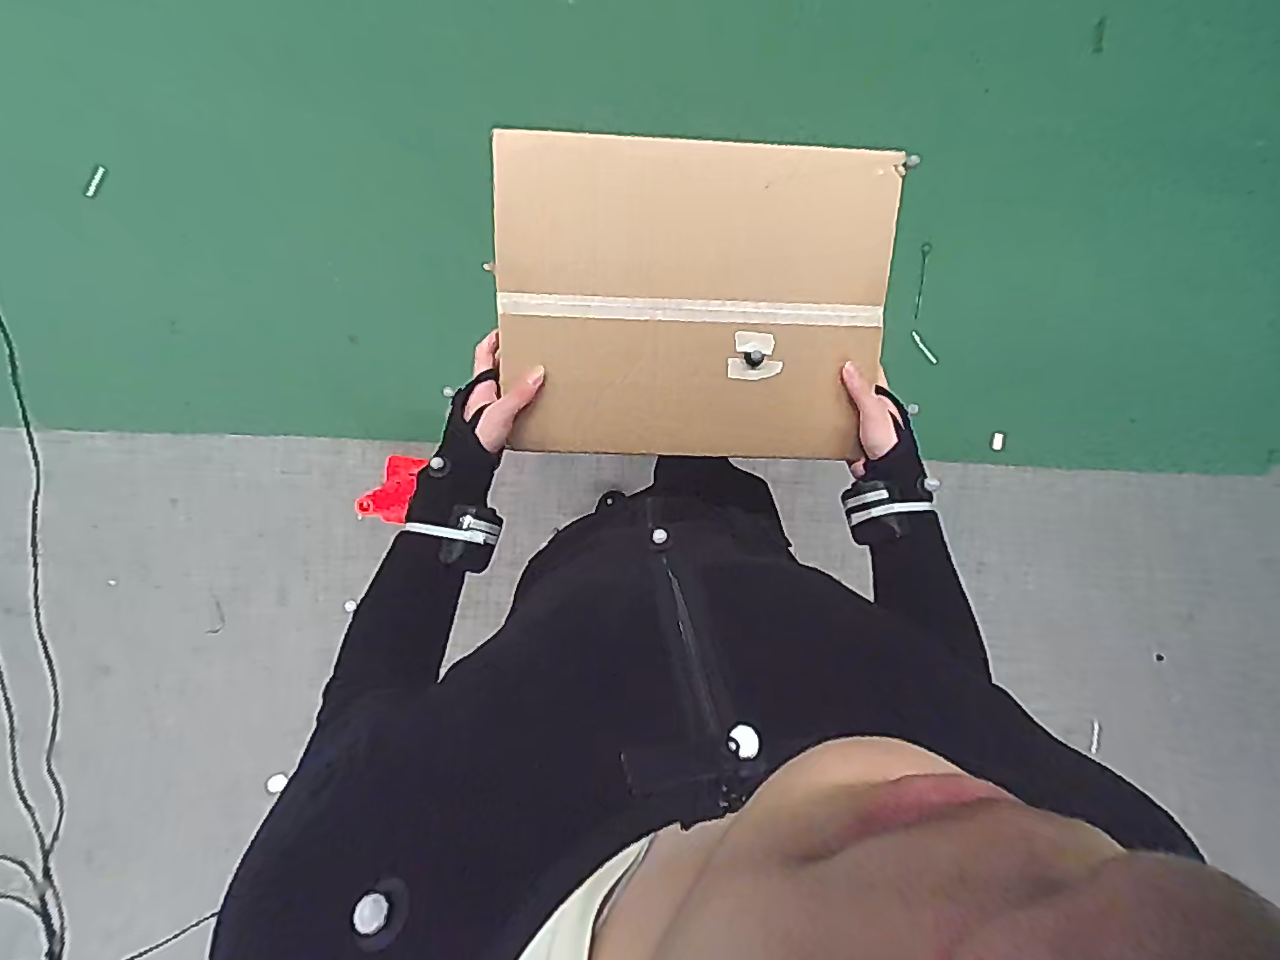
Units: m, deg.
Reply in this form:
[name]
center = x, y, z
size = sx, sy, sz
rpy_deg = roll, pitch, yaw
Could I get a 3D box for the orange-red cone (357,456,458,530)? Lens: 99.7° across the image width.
[orange-red cone]
center = -0.639, 0.049, 1.412
size = 0.199, 0.360, 0.198
rpy_deg = 9, 93, -2

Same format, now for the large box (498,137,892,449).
[large box]
center = 0.048, -0.223, 0.718
size = 0.408, 0.320, 0.320
rpy_deg = 0, 105, -4
